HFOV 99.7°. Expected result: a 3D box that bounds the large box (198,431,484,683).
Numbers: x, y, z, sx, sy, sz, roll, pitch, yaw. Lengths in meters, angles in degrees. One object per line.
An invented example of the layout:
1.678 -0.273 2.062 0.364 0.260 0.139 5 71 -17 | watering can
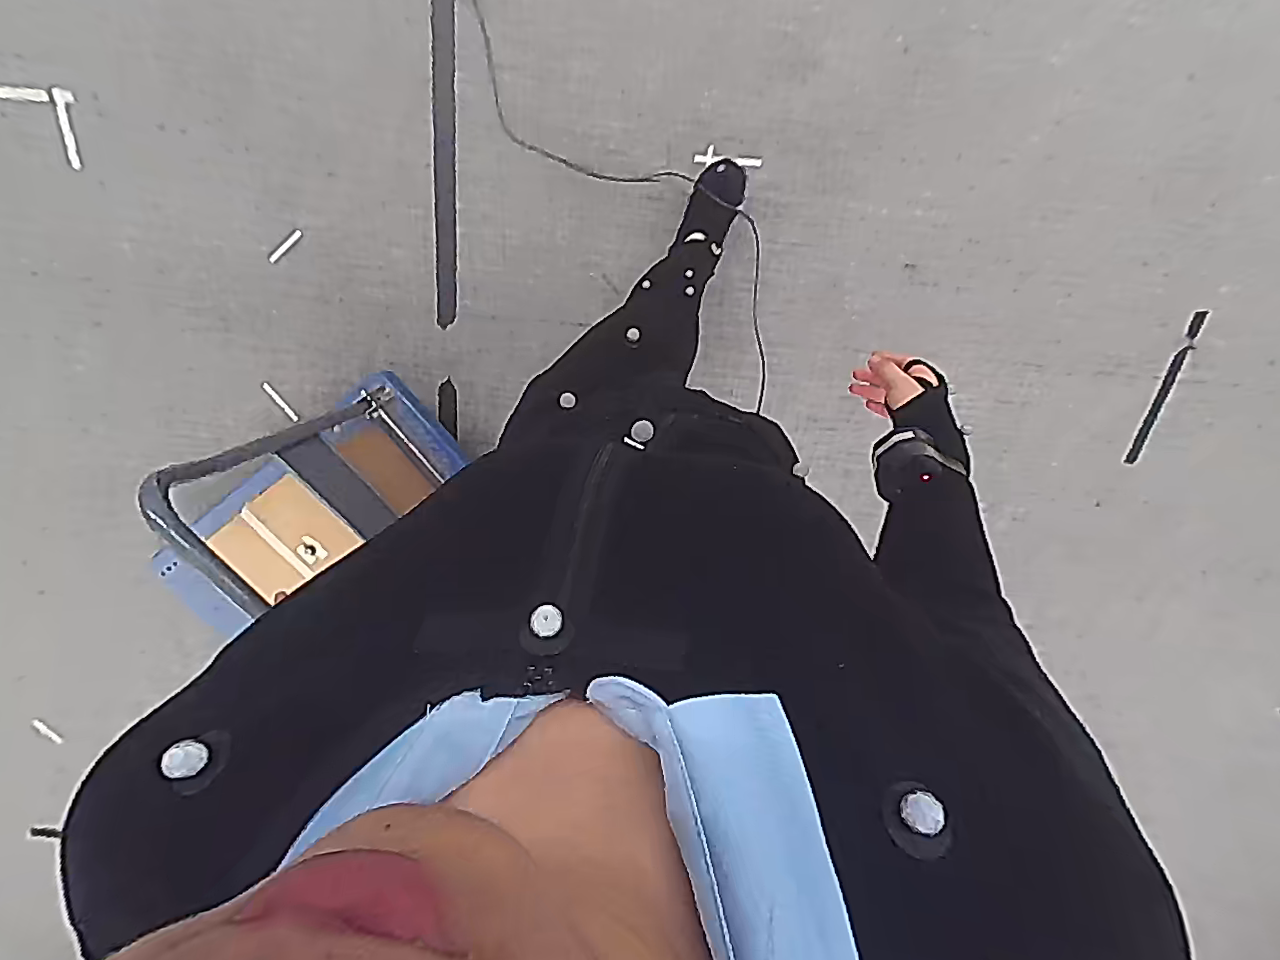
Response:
-0.634 0.161 1.226 0.320 0.320 0.408 -34 105 11 | large box
